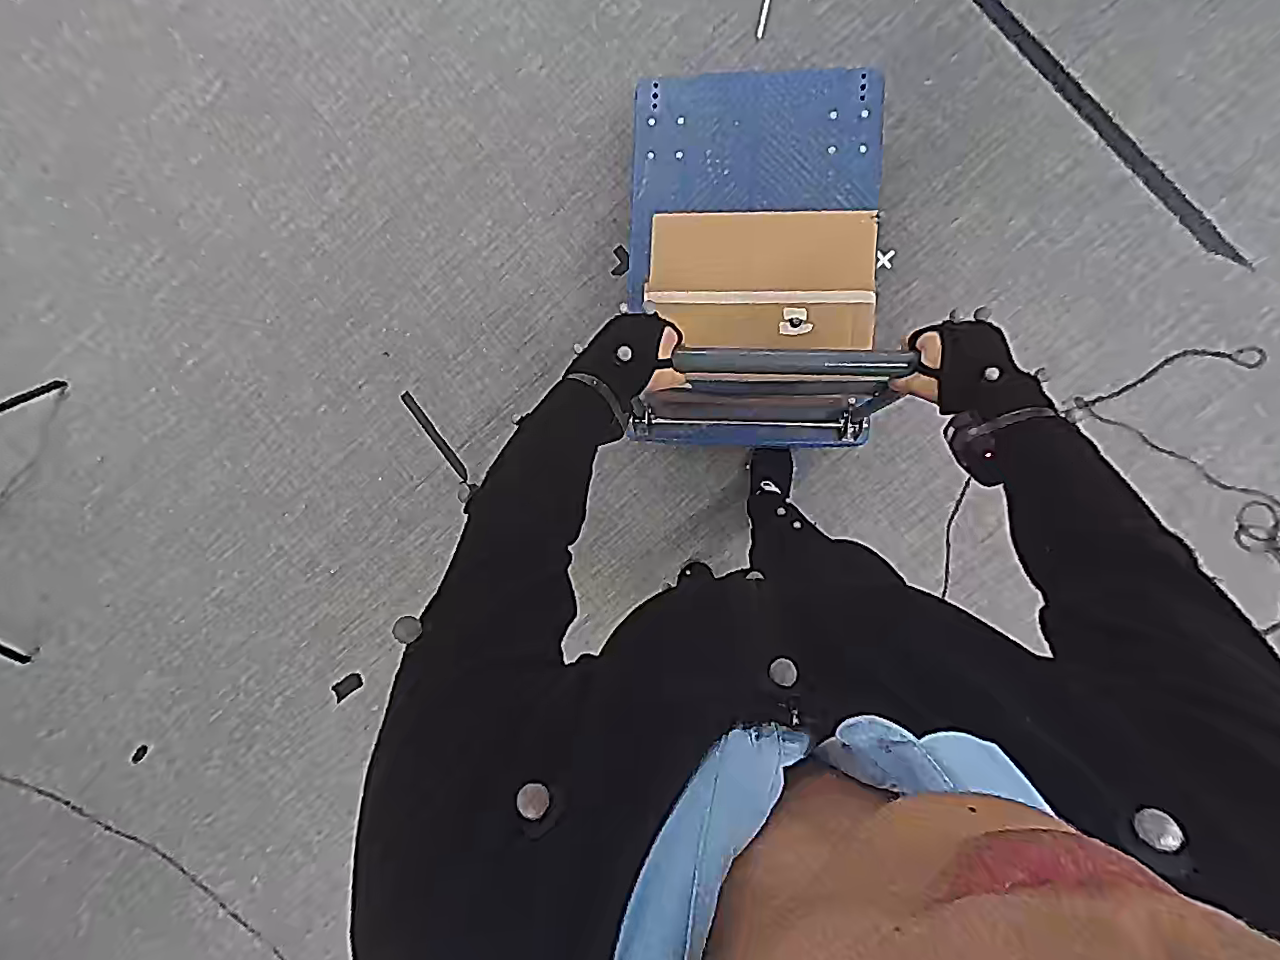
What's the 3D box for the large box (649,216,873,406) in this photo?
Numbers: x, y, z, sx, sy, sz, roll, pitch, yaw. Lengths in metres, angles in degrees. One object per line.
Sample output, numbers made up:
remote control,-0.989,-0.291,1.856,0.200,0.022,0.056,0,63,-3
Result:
large box,0.231,-0.329,1.138,0.408,0.320,0.320,2,92,6
